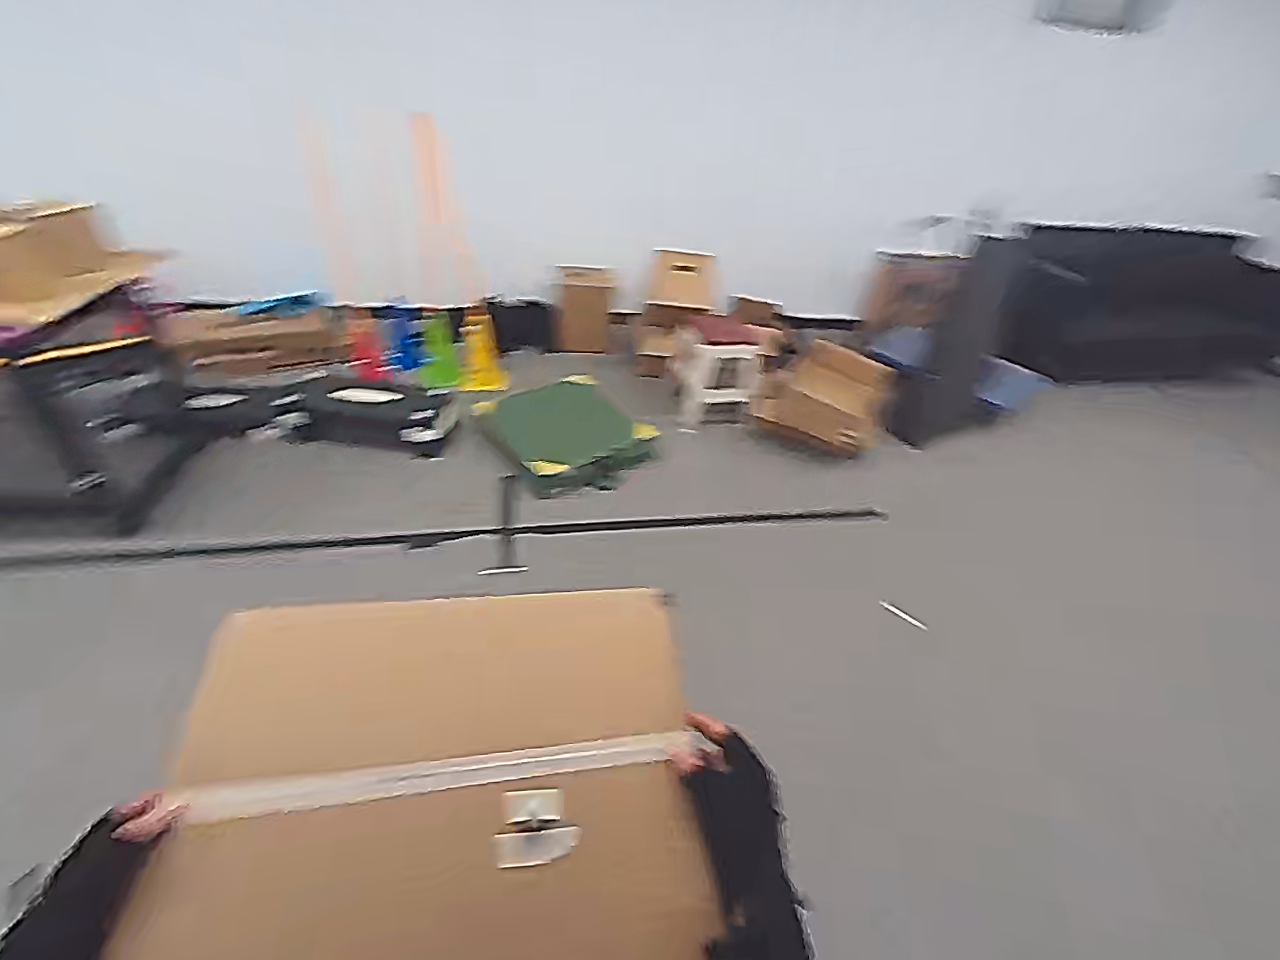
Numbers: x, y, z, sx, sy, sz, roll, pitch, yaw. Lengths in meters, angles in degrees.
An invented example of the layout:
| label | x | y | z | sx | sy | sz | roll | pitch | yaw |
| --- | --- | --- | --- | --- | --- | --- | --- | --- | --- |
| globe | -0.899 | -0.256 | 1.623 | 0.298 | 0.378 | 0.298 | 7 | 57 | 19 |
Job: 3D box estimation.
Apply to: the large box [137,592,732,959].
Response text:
| label | x | y | z | sx | sy | sz | roll | pitch | yaw |
| --- | --- | --- | --- | --- | --- | --- | --- | --- | --- |
| large box | -0.170 | 0.337 | 0.559 | 0.408 | 0.320 | 0.320 | 0 | 50 | -12 |
